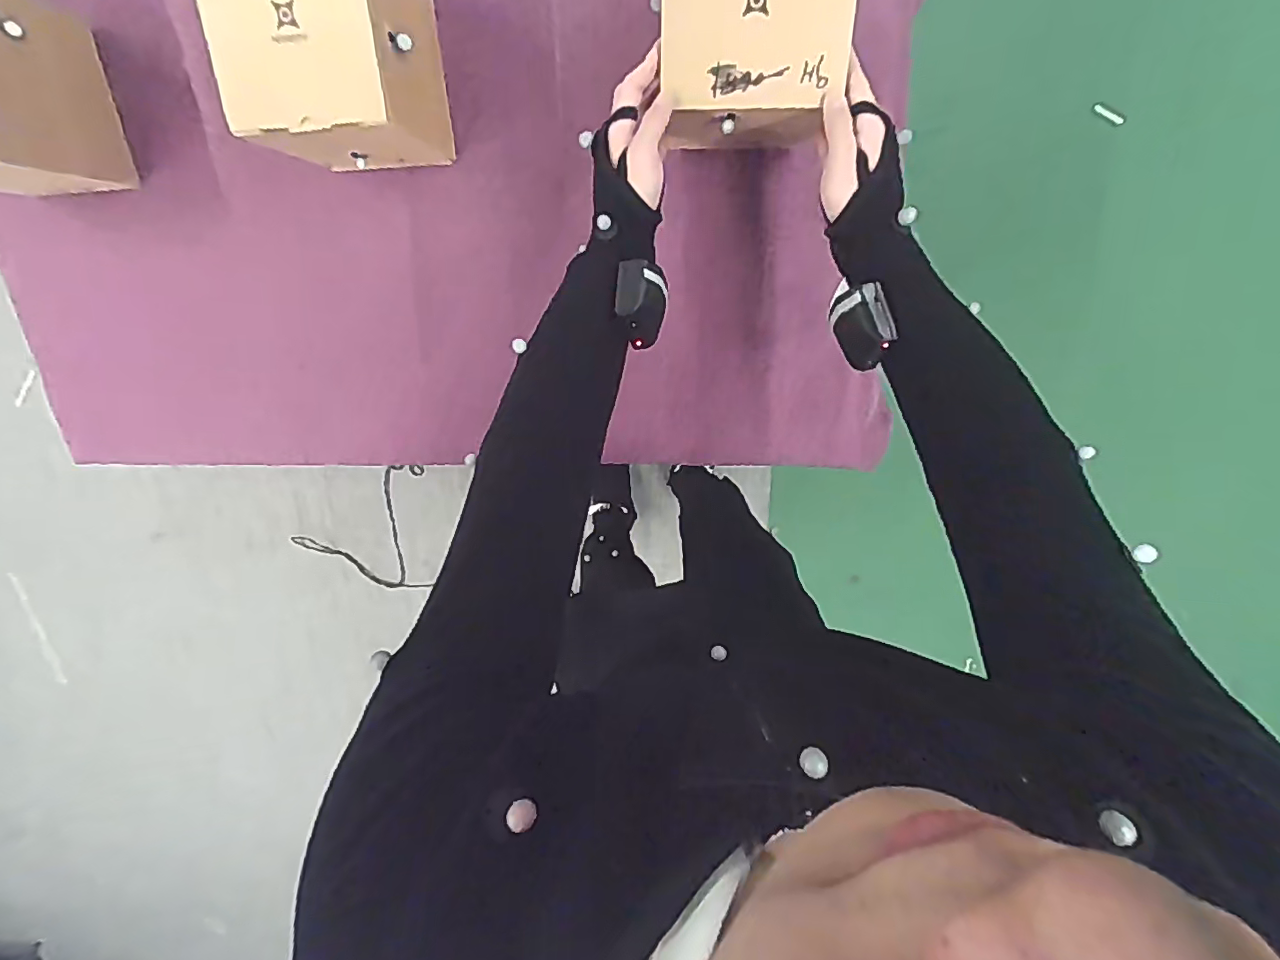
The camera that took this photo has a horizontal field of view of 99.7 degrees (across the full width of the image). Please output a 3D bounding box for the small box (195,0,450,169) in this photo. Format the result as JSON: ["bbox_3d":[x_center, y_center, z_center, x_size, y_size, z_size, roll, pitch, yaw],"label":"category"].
[{"bbox_3d":[-0.318,-0.445,0.568,0.168,0.176,0.179,-1,110,4],"label":"small box"}]

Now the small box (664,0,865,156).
[{"bbox_3d":[0.109,-0.435,0.525,0.168,0.176,0.179,2,110,3],"label":"small box"}]
